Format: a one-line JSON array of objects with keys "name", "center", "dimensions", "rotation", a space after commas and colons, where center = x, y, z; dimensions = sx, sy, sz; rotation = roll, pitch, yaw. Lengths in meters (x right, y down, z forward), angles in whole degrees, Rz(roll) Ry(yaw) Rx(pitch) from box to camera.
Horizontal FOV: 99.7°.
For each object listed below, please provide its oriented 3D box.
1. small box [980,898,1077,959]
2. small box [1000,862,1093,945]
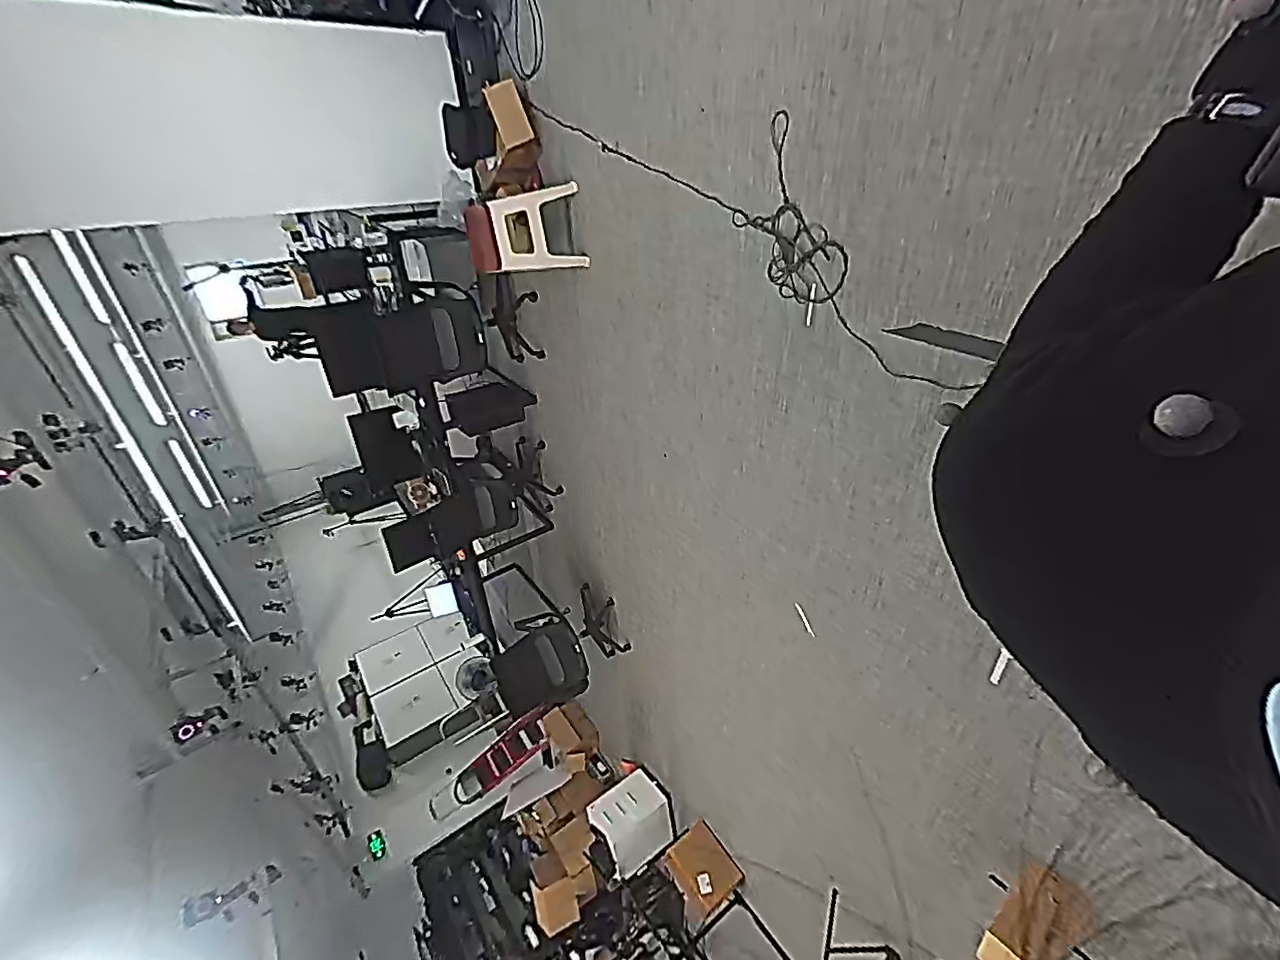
[{"name": "small box", "center": [1.192, 1.441, 1.664], "dimensions": [0.179, 0.176, 0.168], "rotation": [28, 133, 47]}, {"name": "small box", "center": [1.320, 1.392, 1.752], "dimensions": [0.168, 0.176, 0.179], "rotation": [38, 140, 41]}]
